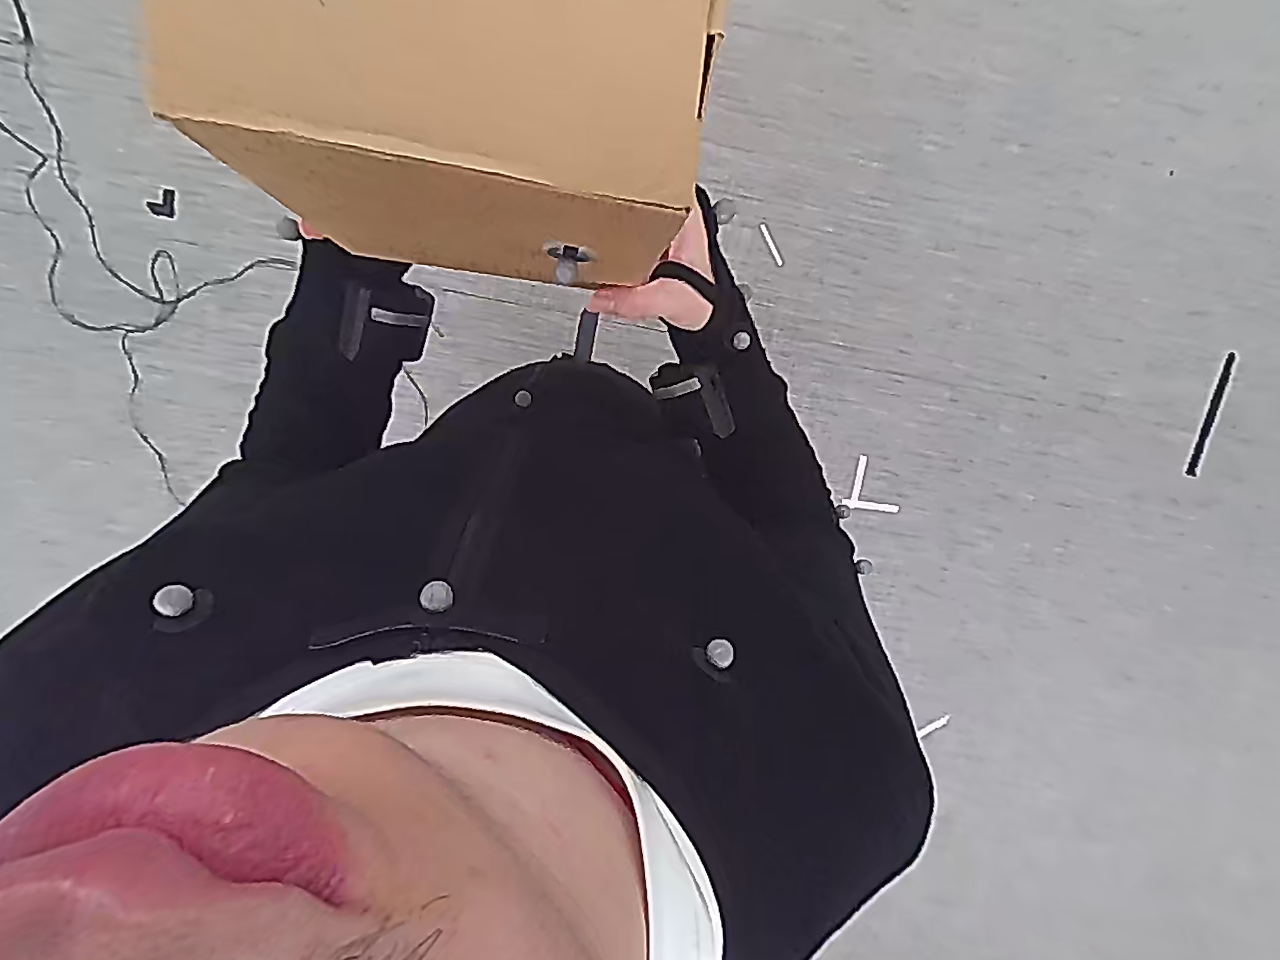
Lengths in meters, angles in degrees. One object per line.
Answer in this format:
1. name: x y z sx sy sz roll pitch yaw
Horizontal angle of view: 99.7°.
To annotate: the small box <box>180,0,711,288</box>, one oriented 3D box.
1. small box: -0.071 -0.199 0.261 0.179 0.176 0.168 5 97 -9
